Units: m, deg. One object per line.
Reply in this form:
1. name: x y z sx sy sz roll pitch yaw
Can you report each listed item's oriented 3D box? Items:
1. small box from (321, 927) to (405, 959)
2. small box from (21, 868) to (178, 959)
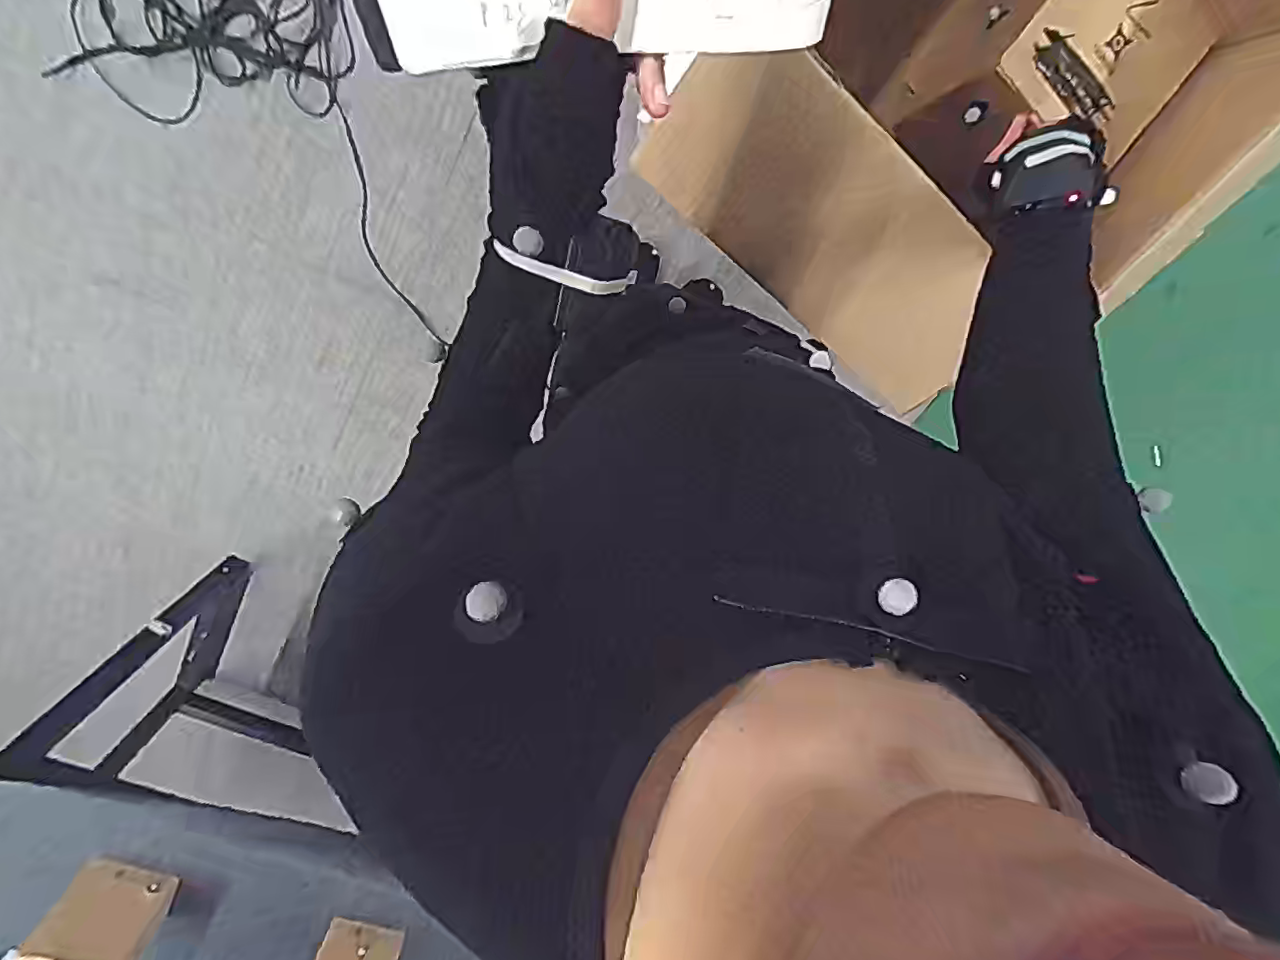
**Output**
1. small box: -0.641 1.133 1.186 0.168 0.176 0.179 24 113 -13
2. small box: -1.073 0.915 1.073 0.168 0.176 0.179 28 113 -14
